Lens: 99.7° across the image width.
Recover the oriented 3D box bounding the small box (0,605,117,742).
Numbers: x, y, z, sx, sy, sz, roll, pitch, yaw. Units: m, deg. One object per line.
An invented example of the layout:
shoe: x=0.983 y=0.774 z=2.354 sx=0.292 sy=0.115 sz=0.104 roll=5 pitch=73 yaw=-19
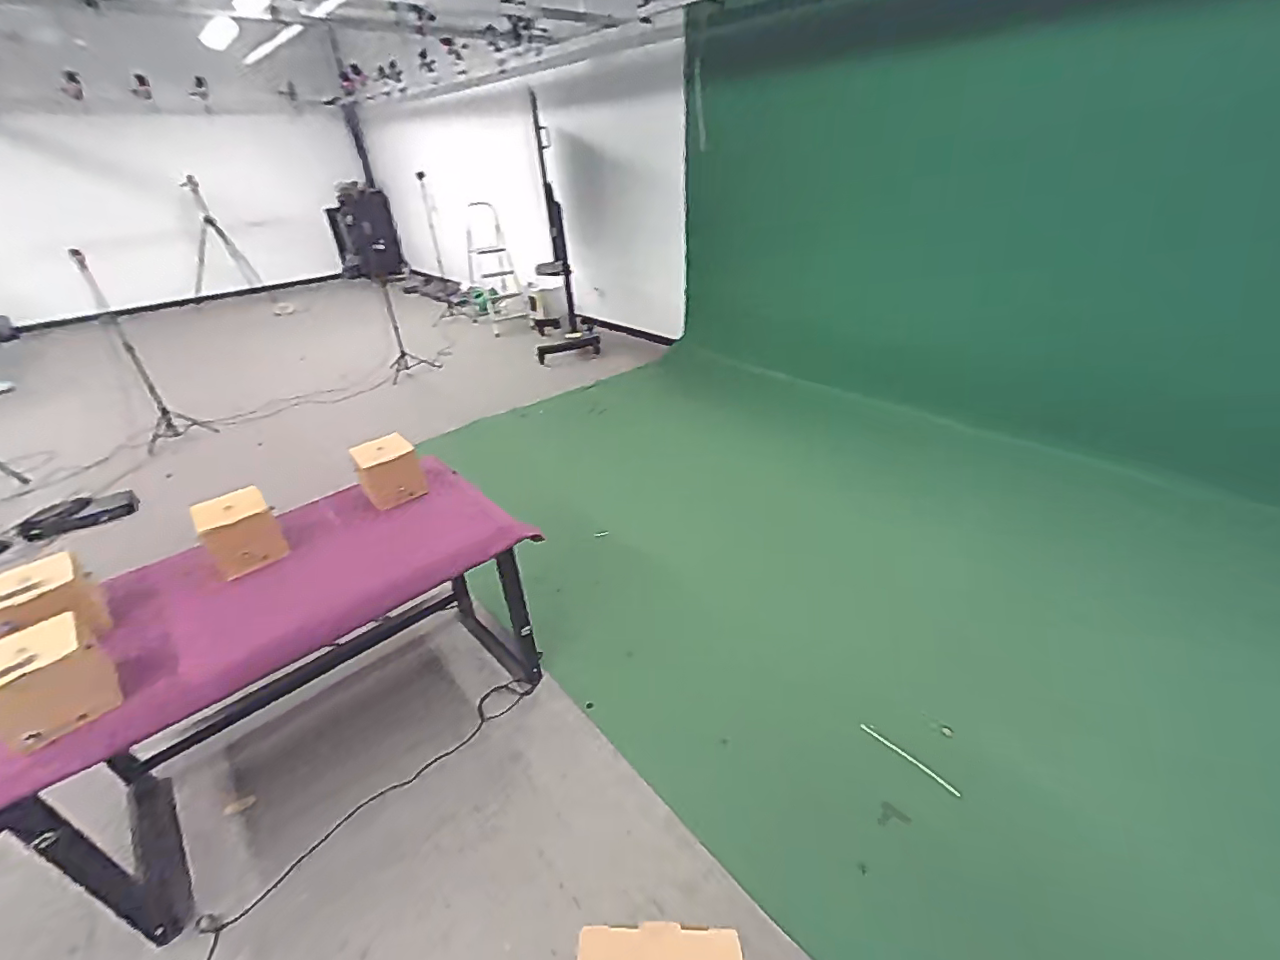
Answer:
small box: x=-1.217 y=0.395 z=1.101 sx=0.179 sy=0.176 sz=0.168 roll=23 pitch=40 yaw=38

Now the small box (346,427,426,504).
small box: x=-0.832 y=-0.047 z=1.778 sx=0.168 sy=0.176 sz=0.179 roll=-28 pitch=41 yaw=-31

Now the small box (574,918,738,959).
small box: x=0.011 y=0.565 z=0.513 sx=0.168 sy=0.176 sz=0.179 roll=2 pitch=25 yaw=-1

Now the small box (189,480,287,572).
small box: x=-1.134 y=0.129 z=1.529 sx=0.168 sy=0.176 sz=0.179 roll=-27 pitch=40 yaw=-34
